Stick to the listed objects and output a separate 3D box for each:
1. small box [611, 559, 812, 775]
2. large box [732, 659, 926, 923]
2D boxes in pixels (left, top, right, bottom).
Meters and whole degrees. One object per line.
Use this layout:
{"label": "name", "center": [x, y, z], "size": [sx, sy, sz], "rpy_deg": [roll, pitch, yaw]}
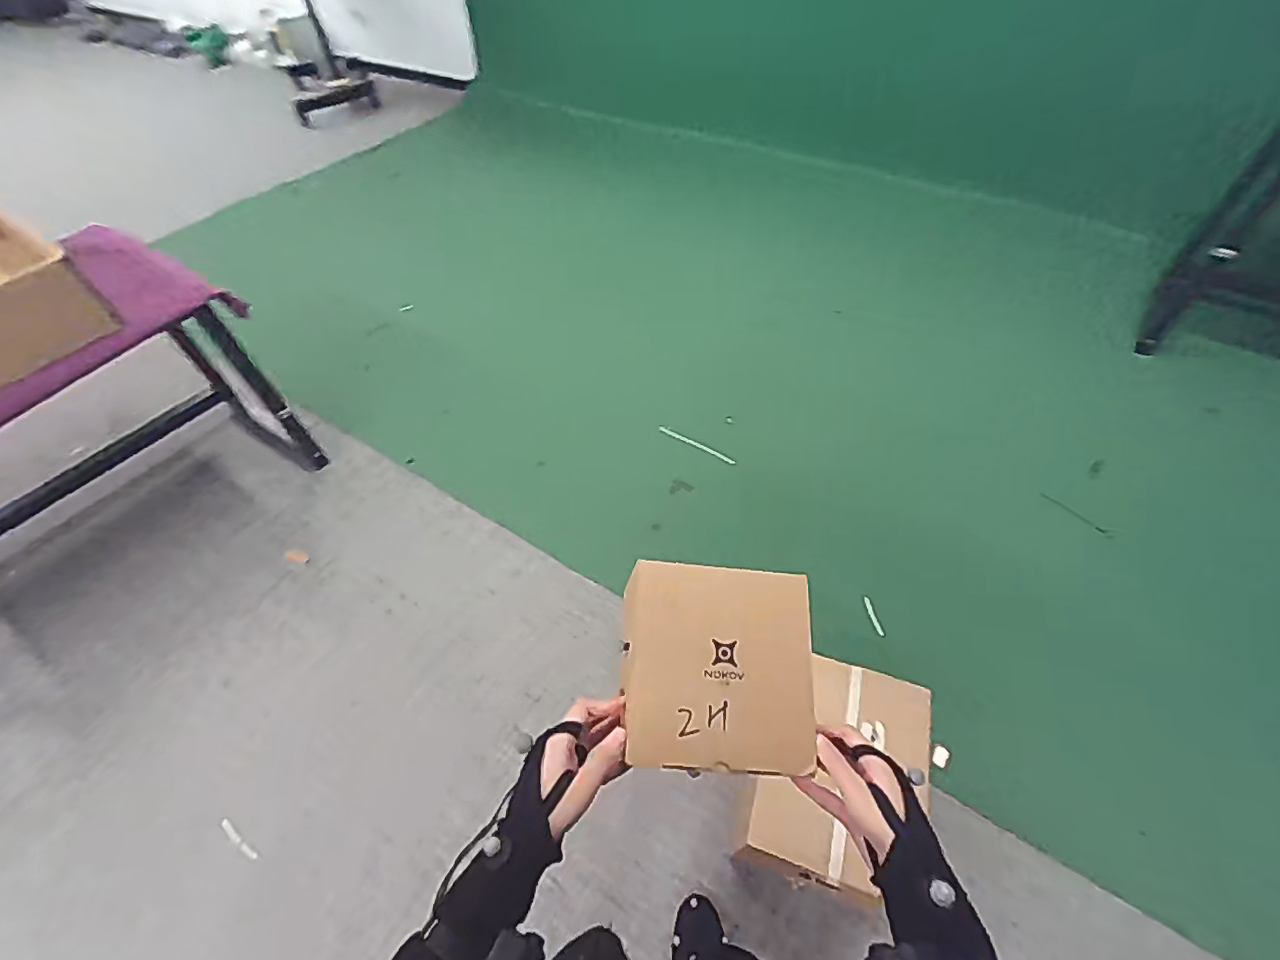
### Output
{"label": "small box", "center": [0.061, 0.192, 0.557], "size": [0.168, 0.176, 0.179], "rpy_deg": [6, 68, -4]}
{"label": "large box", "center": [0.403, 0.663, 1.178], "size": [0.320, 0.320, 0.408], "rpy_deg": [15, 52, 13]}
